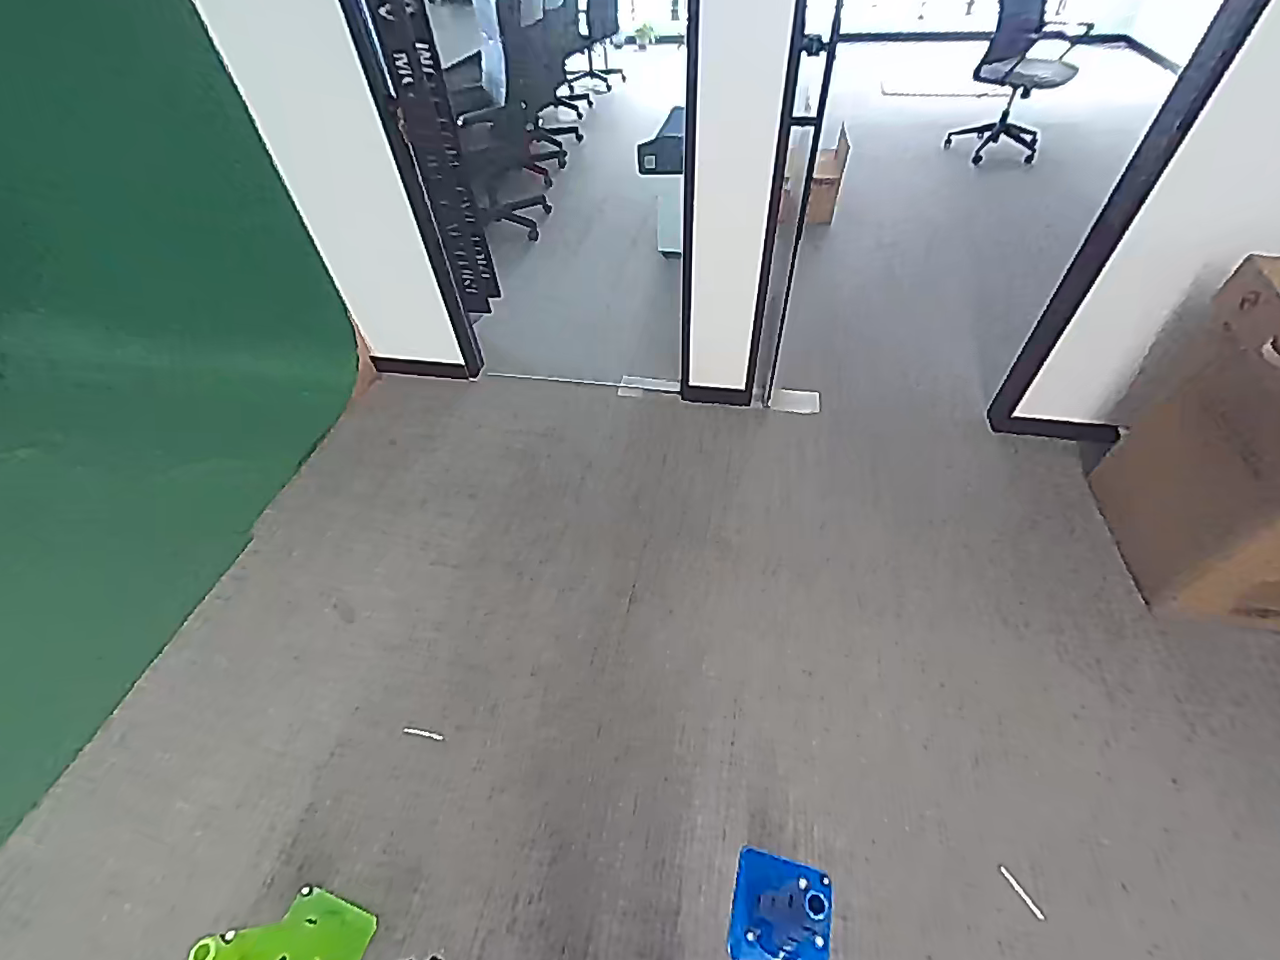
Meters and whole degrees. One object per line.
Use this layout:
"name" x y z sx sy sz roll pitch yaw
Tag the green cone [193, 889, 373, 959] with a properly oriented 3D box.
"green cone" -0.689 0.873 0.986 0.202 0.368 0.200 12 49 13
